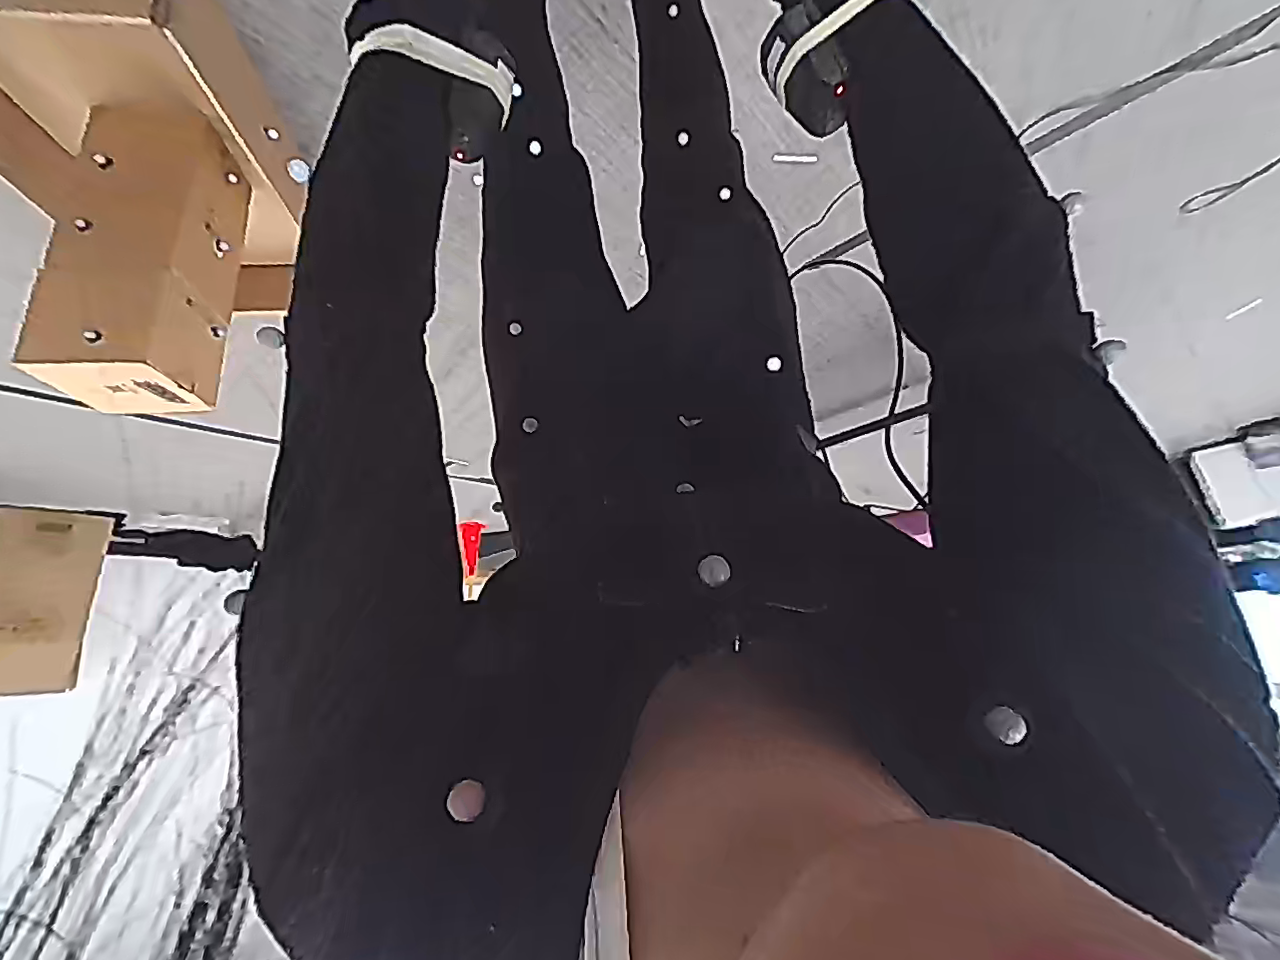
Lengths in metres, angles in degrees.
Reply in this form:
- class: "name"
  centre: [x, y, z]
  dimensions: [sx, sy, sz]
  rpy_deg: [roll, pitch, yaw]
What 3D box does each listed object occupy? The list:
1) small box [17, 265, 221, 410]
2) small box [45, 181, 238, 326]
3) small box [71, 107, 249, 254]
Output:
- class: "small box"
  centre: [-0.816, -0.226, 0.873]
  dimensions: [0.179, 0.176, 0.168]
  rpy_deg: [-3, 162, -8]
- class: "small box"
  centre: [-0.829, -0.382, 0.923]
  dimensions: [0.179, 0.176, 0.168]
  rpy_deg: [-4, 163, -9]
- class: "small box"
  centre: [-0.846, -0.535, 0.975]
  dimensions: [0.179, 0.176, 0.168]
  rpy_deg: [-3, 162, -11]
